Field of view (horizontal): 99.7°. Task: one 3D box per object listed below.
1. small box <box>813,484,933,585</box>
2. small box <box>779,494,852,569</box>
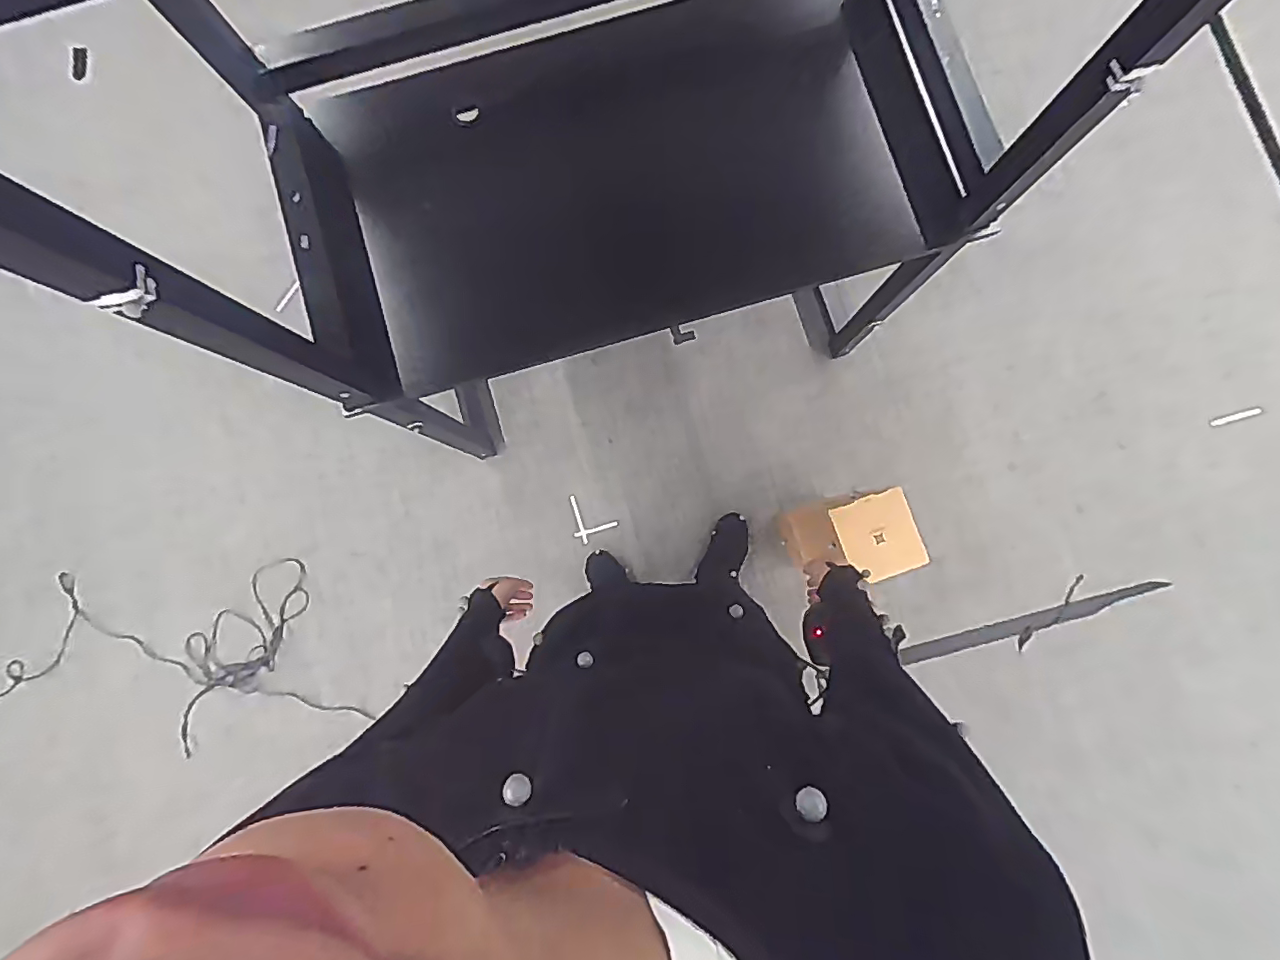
[{"bbox_3d":[0.513,0.120,1.217,0.168,0.176,0.179,-20,85,0],"label":"small box"},{"bbox_3d":[0.519,0.144,1.543,0.179,0.176,0.168,-18,84,1],"label":"small box"}]
